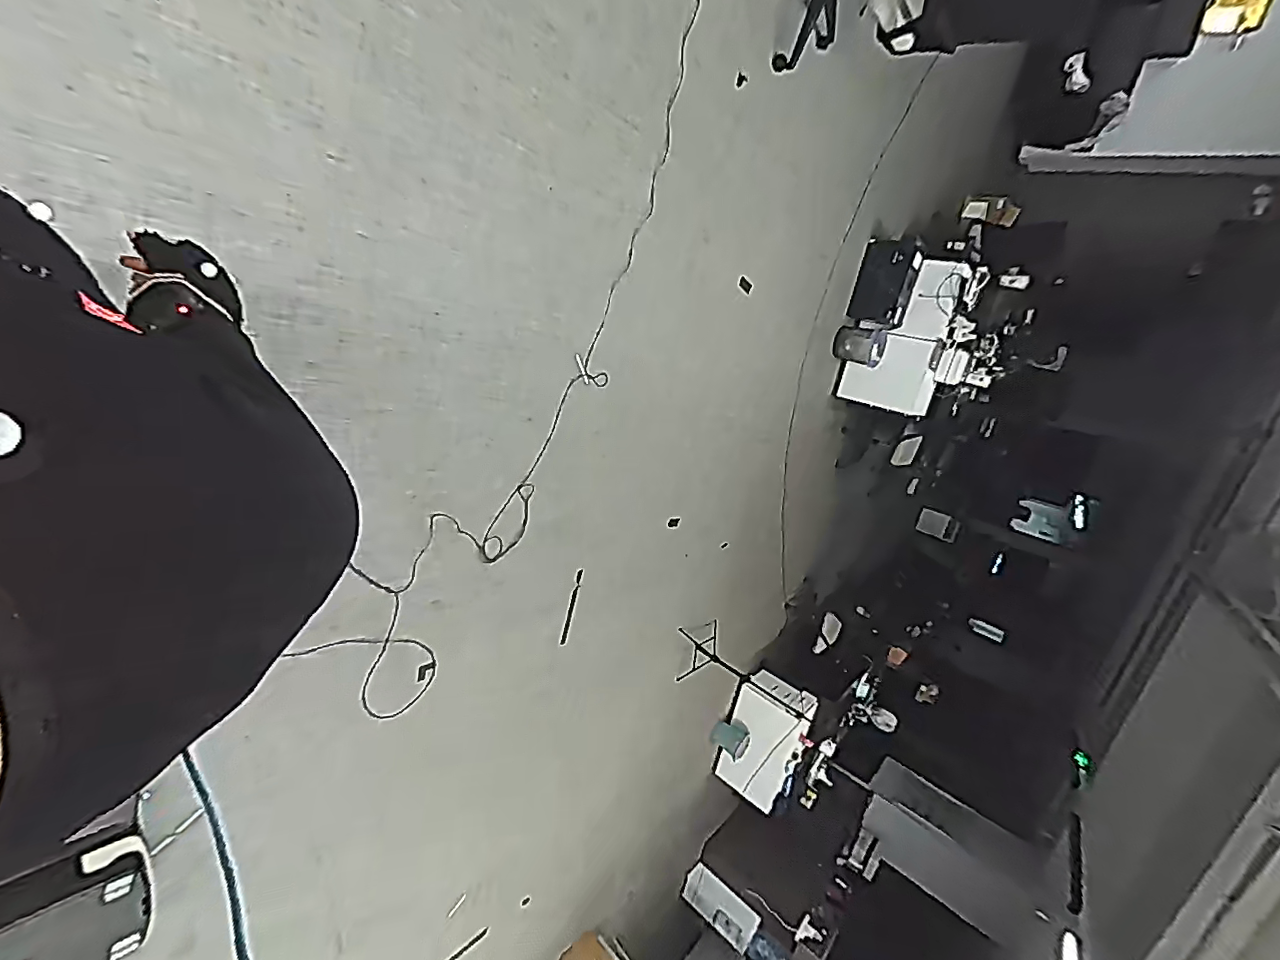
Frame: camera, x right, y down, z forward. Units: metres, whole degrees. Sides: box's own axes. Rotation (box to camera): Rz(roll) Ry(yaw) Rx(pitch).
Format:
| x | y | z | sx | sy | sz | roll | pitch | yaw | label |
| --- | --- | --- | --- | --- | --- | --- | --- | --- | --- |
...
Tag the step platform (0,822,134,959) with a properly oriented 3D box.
| x | y | z | sx | sy | sz | roll | pitch | yaw | label |
| --- | --- | --- | --- | --- | --- | --- | --- | --- | --- |
| -1.502 | 1.041 | 1.105 | 0.684 | 0.204 | 0.286 | -8 | 116 | -49 | step platform |
